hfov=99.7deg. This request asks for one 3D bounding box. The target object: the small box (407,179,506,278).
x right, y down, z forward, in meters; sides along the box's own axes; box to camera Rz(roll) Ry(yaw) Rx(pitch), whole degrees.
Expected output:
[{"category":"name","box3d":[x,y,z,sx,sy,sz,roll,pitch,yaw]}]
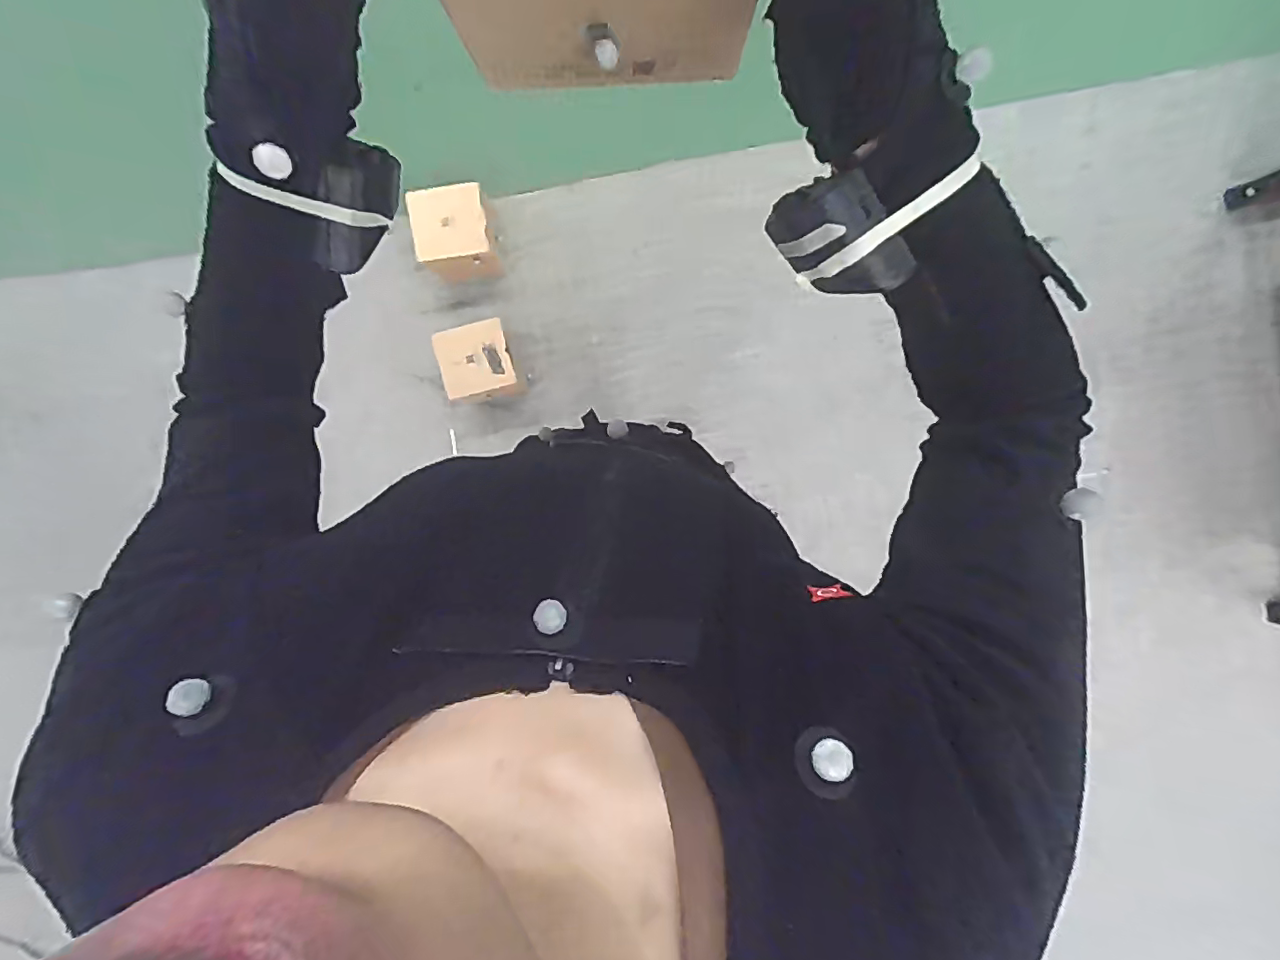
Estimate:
[{"category":"small box","box3d":[-0.453,-0.621,1.356,0.179,0.176,0.168,-9,95,0]}]

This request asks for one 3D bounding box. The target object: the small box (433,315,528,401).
[{"category":"small box","box3d":[-0.395,-0.304,1.377,0.179,0.176,0.168,-15,94,2]}]

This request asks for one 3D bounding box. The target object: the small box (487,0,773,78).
[{"category":"small box","box3d":[-0.008,-0.339,0.263,0.168,0.176,0.179,0,100,1]}]
